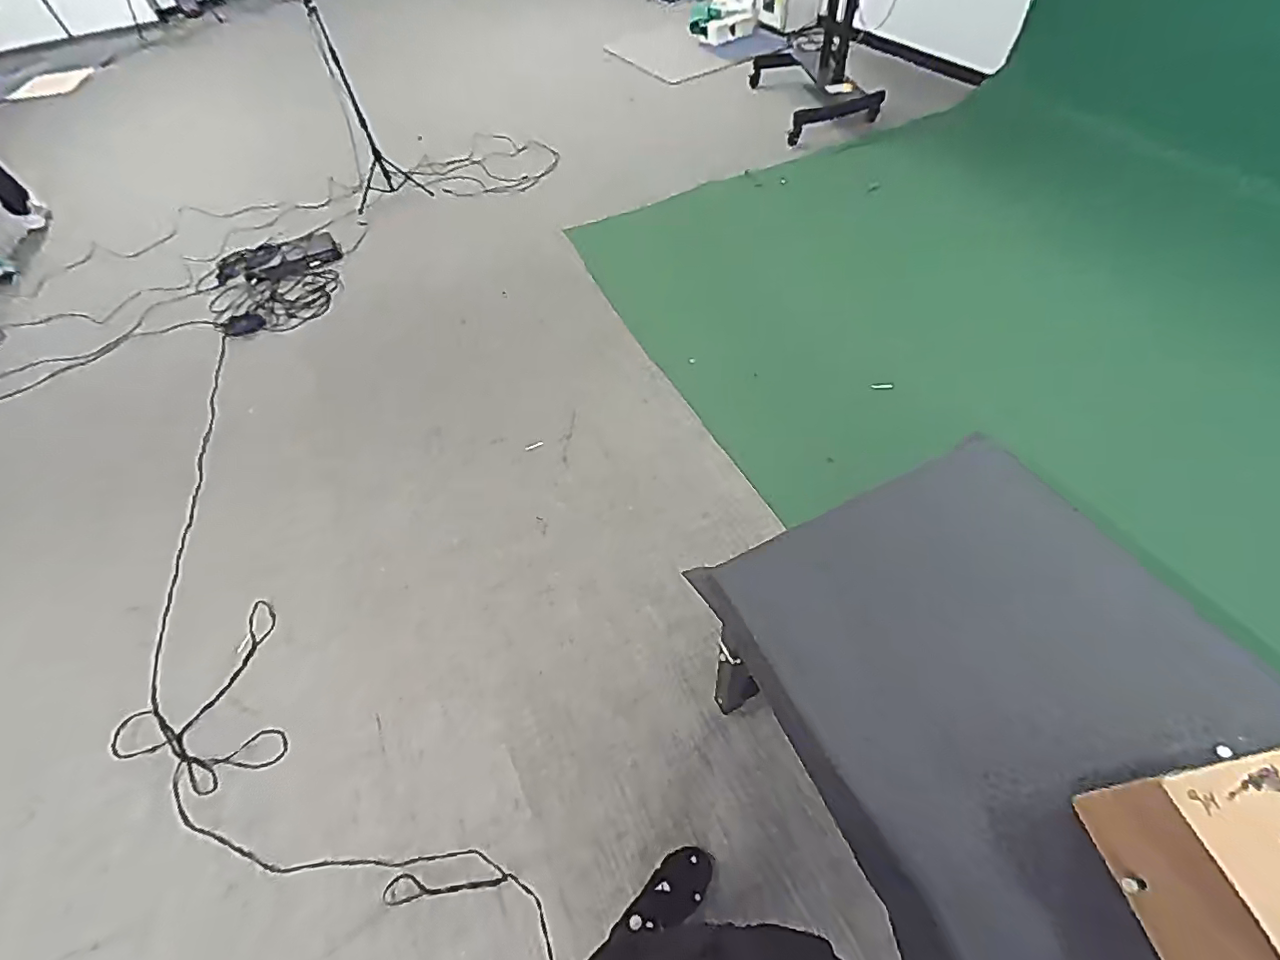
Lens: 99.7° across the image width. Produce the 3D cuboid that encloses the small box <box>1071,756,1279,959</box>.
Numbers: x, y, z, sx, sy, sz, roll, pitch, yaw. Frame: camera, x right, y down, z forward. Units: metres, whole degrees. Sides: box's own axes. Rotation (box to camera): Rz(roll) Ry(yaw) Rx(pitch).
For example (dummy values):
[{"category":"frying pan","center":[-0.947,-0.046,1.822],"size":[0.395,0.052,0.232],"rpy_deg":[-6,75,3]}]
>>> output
[{"category":"small box","center":[0.618,0.407,0.563],"size":[0.168,0.176,0.179],"rpy_deg":[-10,53,-3]}]
